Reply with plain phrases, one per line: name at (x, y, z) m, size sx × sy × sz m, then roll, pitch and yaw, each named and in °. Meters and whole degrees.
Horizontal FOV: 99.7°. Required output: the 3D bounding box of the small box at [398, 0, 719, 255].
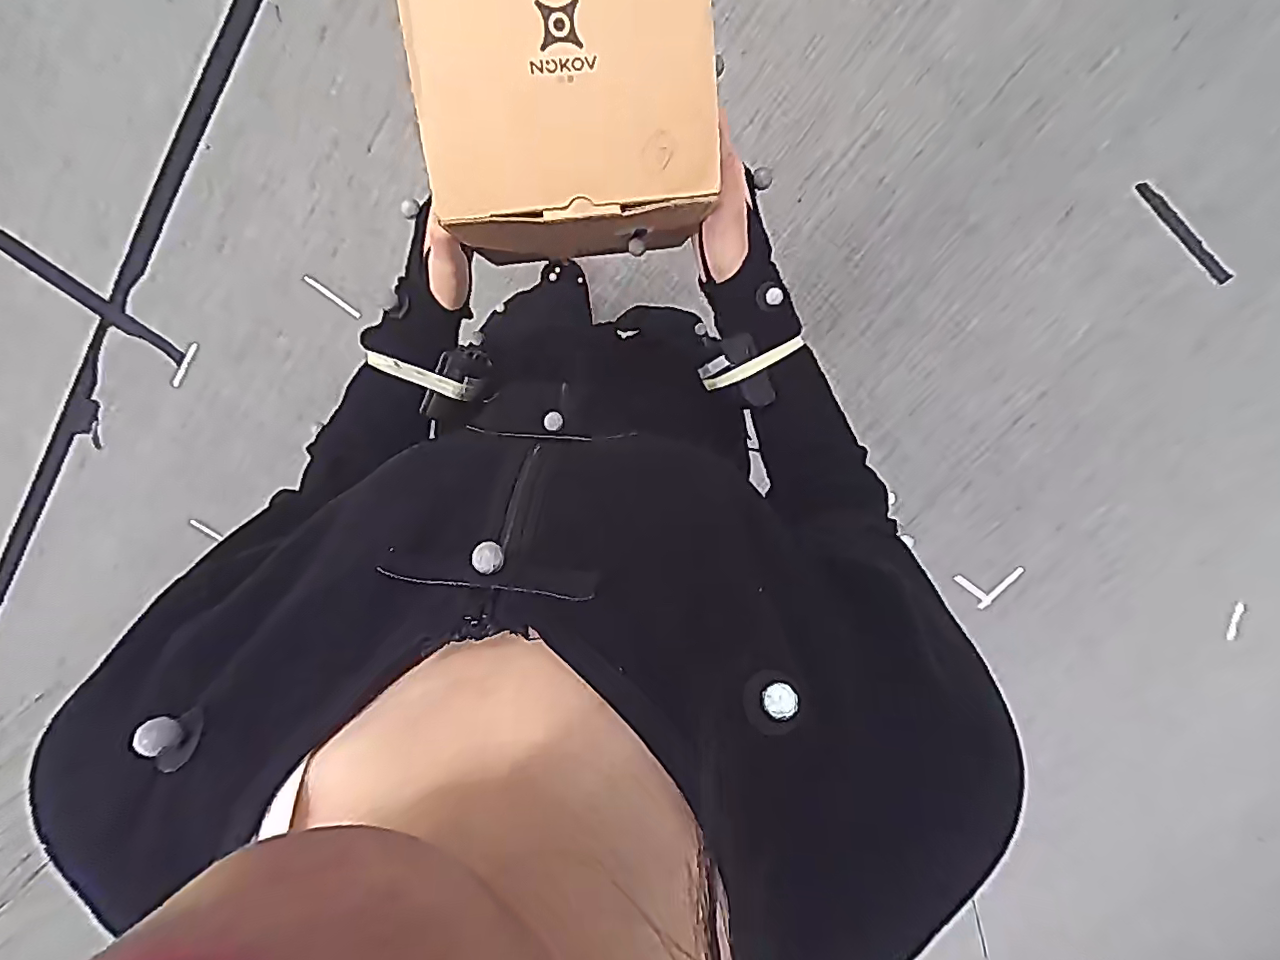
small box at (-0.048, -0.256, 0.362) m, size 0.168 × 0.176 × 0.179 m, roll -7°, pitch 104°, yaw -3°
